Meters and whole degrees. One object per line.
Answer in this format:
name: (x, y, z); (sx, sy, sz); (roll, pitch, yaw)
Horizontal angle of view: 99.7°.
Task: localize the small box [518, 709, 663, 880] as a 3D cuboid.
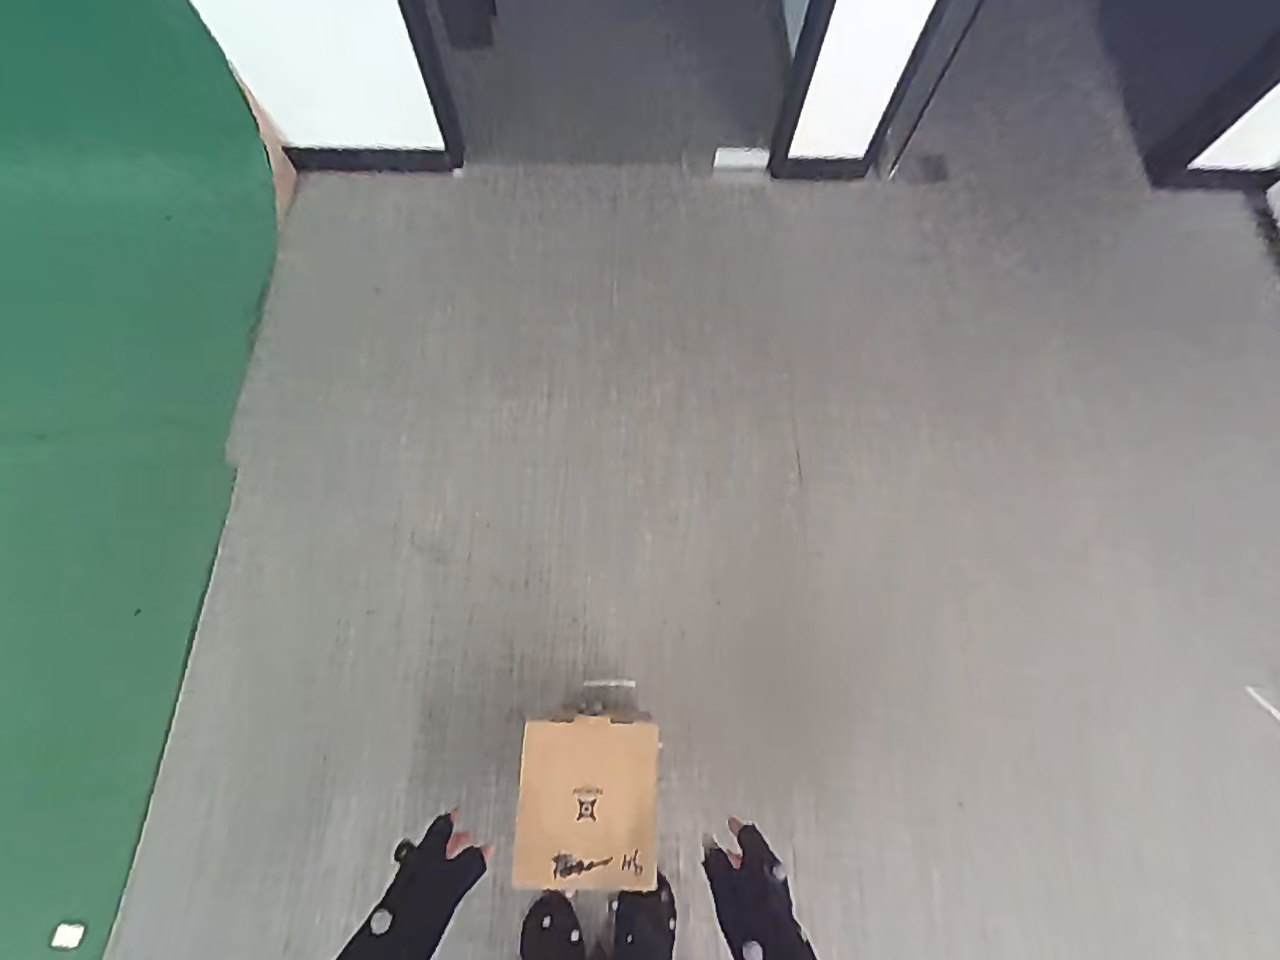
small box: (-0.057, 0.401, 0.718); (0.168, 0.176, 0.179); (1, 69, 0)
